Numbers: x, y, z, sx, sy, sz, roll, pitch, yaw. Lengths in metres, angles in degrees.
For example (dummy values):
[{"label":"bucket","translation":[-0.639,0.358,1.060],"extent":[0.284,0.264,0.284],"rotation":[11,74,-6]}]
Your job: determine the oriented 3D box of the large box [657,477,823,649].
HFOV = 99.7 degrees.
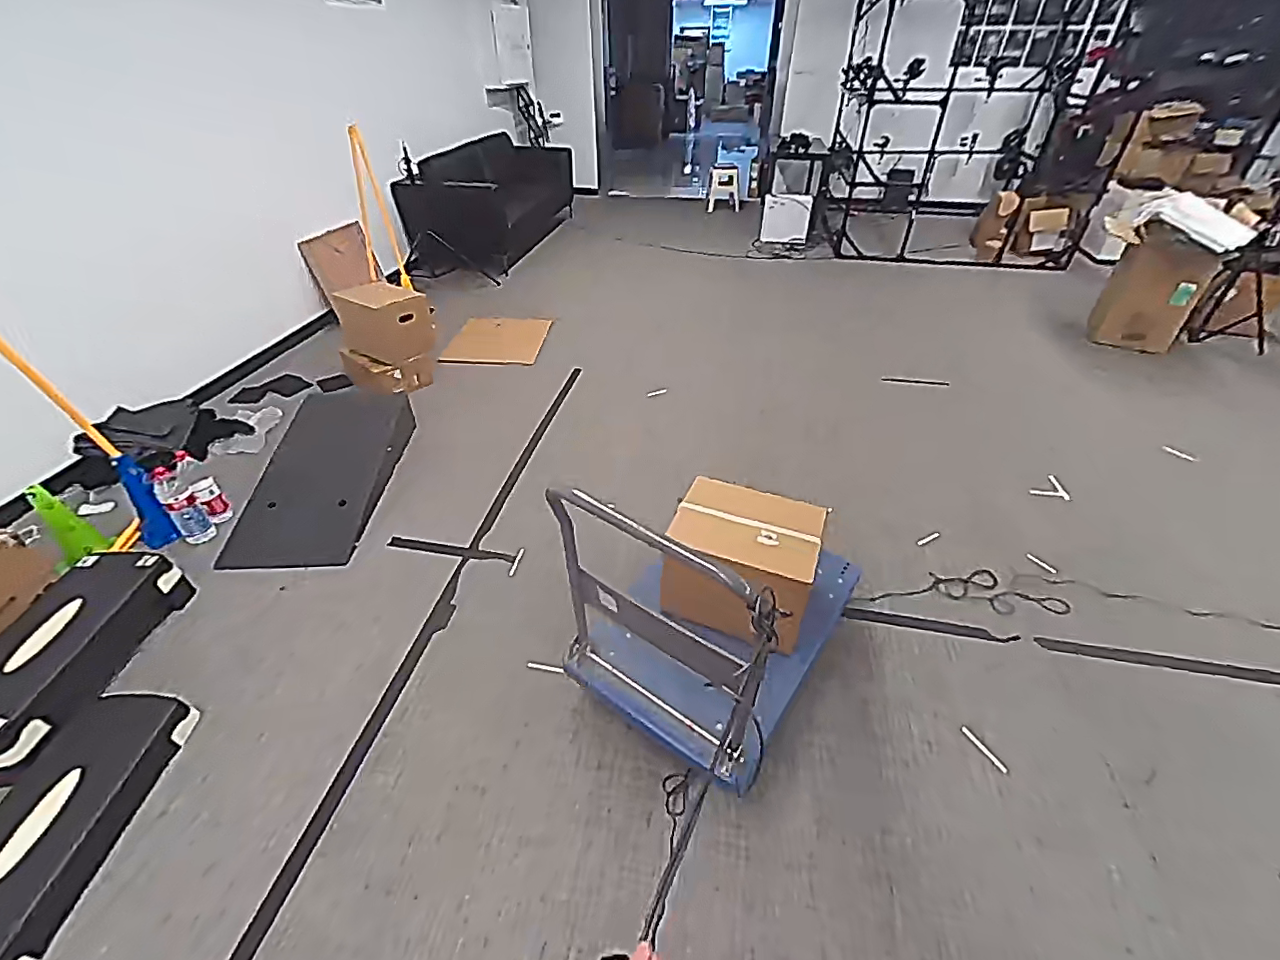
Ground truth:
[{"label":"large box","translation":[0.291,0.239,1.613],"extent":[0.408,0.320,0.320],"rotation":[15,41,16]}]
